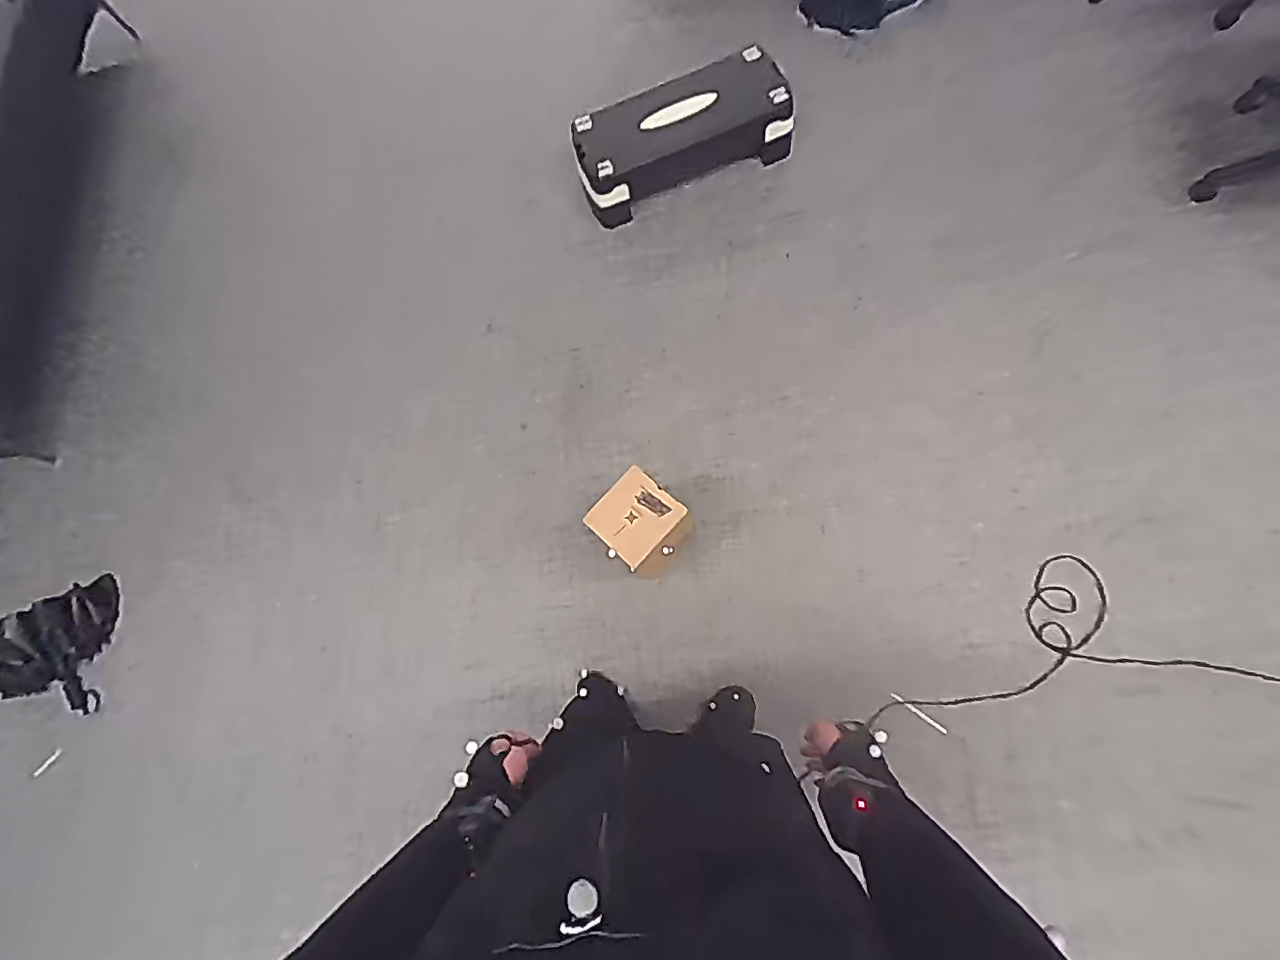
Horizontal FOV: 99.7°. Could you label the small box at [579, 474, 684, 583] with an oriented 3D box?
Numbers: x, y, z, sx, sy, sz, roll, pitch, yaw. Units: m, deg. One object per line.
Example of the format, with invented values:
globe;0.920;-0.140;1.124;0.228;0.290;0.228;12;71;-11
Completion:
small box;-0.011;0.119;1.261;0.168;0.176;0.179;42;84;17
